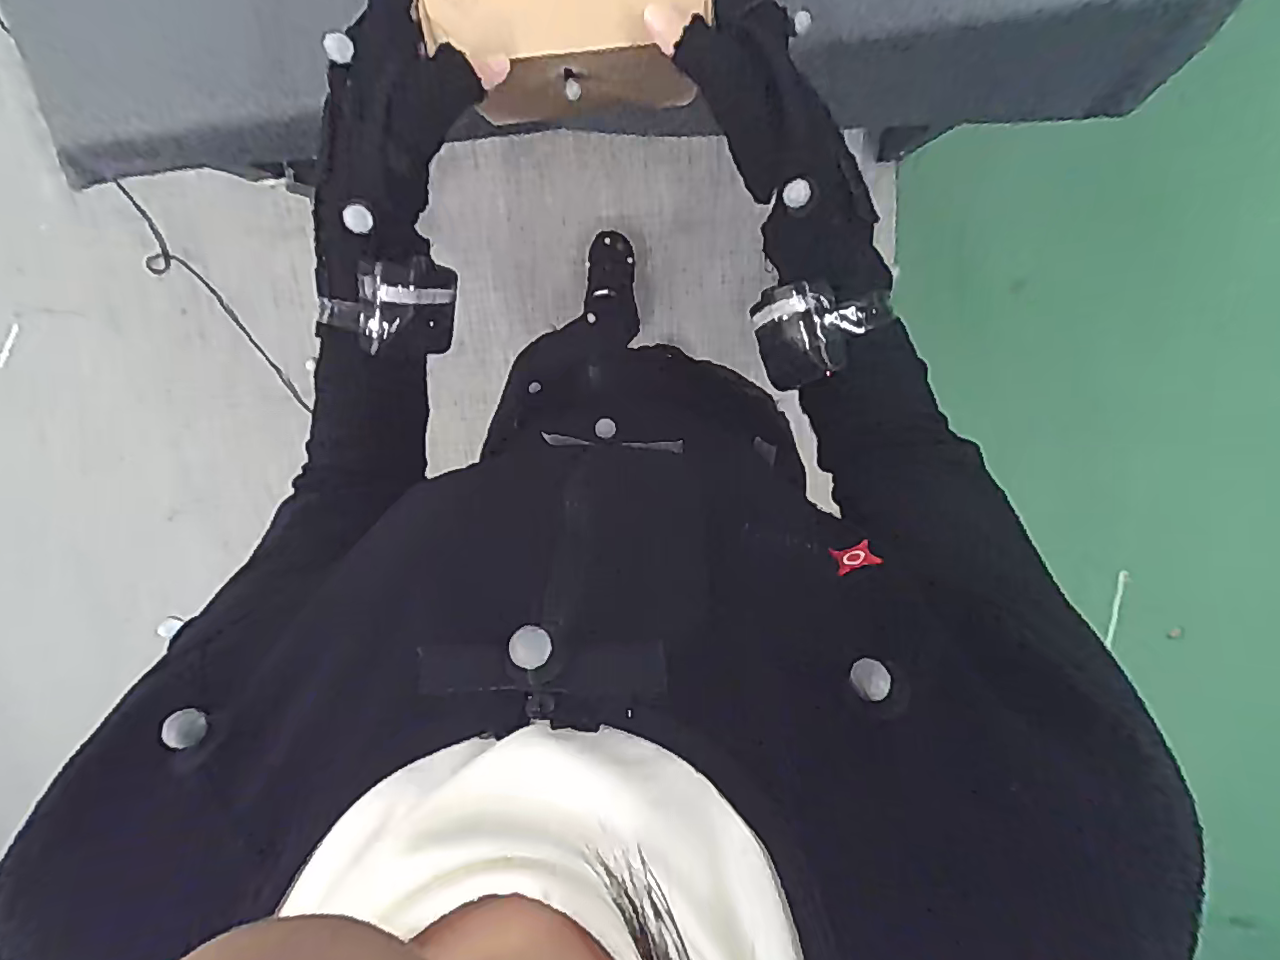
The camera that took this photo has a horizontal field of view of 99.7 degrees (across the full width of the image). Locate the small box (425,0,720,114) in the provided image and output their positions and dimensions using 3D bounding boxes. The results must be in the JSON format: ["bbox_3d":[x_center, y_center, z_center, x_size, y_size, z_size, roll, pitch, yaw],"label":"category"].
[{"bbox_3d":[-0.046,-0.369,0.368,0.179,0.176,0.168,-6,114,2],"label":"small box"}]
